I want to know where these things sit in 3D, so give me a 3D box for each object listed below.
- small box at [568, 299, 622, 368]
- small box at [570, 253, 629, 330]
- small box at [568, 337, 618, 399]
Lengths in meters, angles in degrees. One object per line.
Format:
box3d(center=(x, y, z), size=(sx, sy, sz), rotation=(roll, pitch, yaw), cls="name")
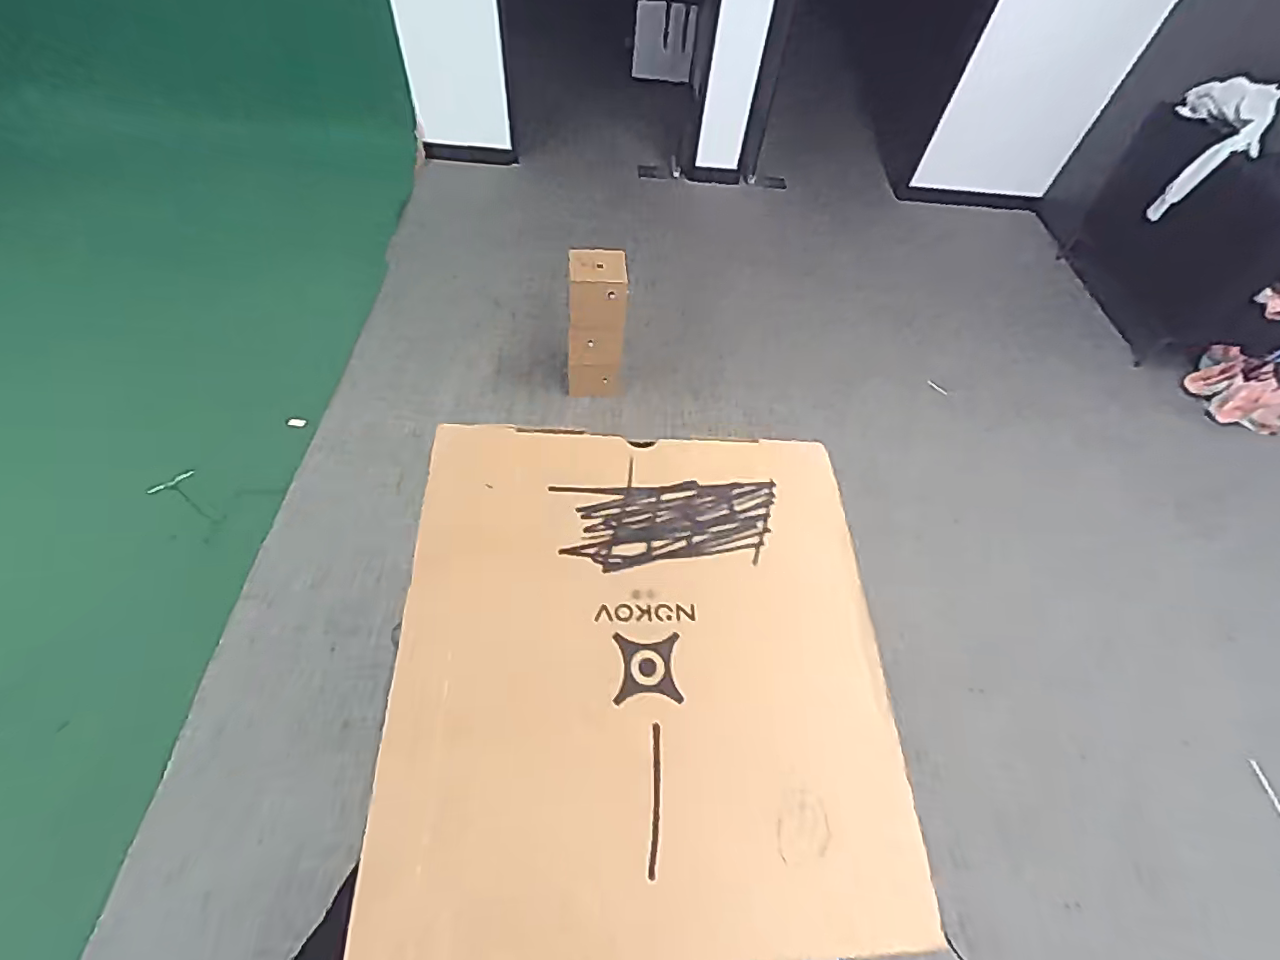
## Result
box3d(center=(-0.155, -0.499, 1.845), size=(0.179, 0.176, 0.168), rotation=(-2, 56, -6), cls="small box")
box3d(center=(-0.133, -0.591, 1.709), size=(0.179, 0.176, 0.168), rotation=(-1, 54, -6), cls="small box")
box3d(center=(-0.174, -0.410, 1.982), size=(0.179, 0.176, 0.168), rotation=(-1, 55, -6), cls="small box")
